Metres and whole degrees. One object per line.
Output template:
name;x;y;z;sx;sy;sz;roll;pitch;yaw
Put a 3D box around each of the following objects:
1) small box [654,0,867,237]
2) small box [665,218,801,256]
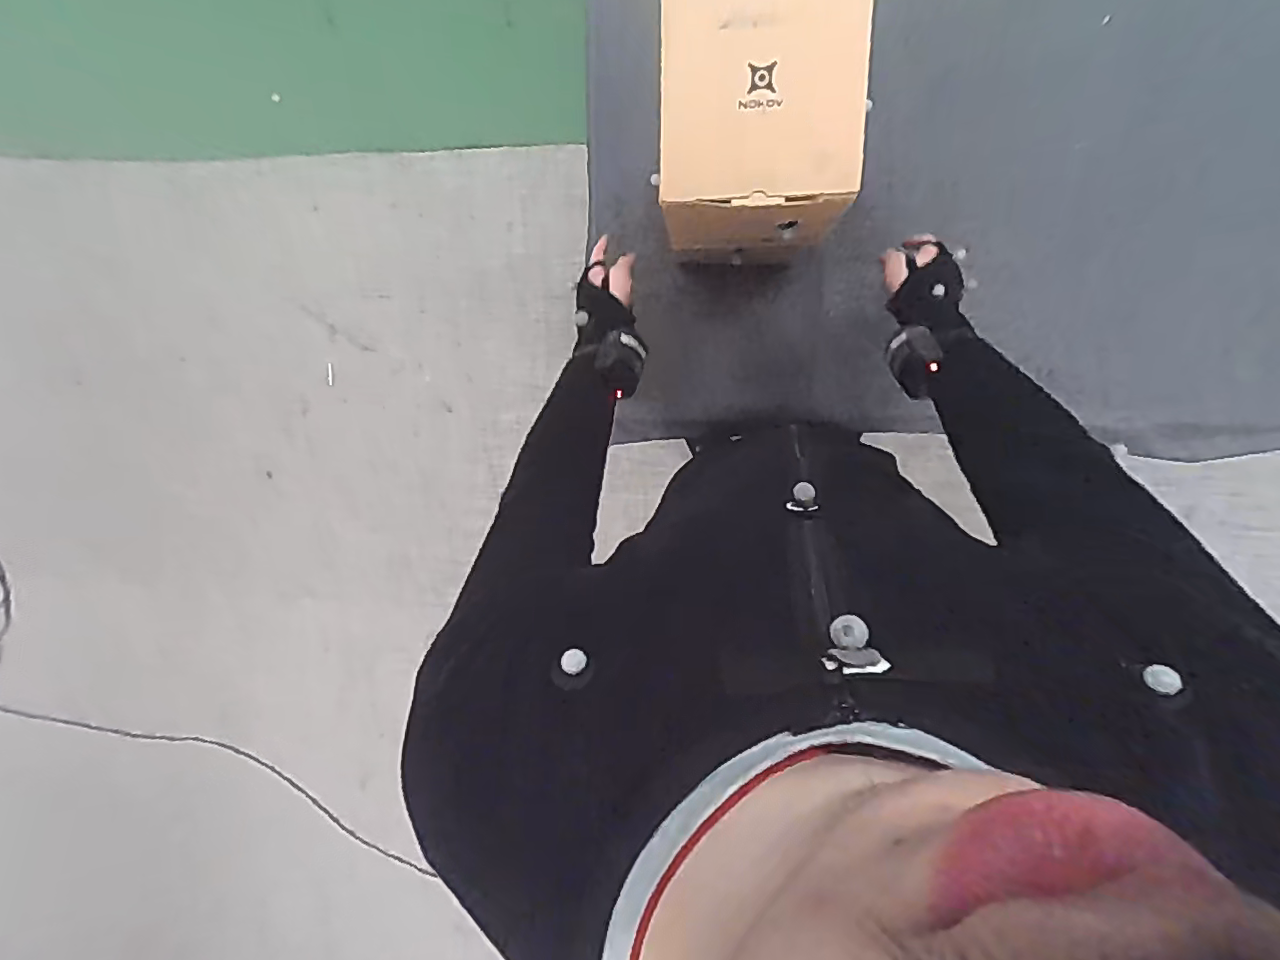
small box;0.102;-0.338;0.507;0.168;0.176;0.179;0;99;6
small box;0.122;-0.380;0.663;0.168;0.176;0.179;2;101;6
